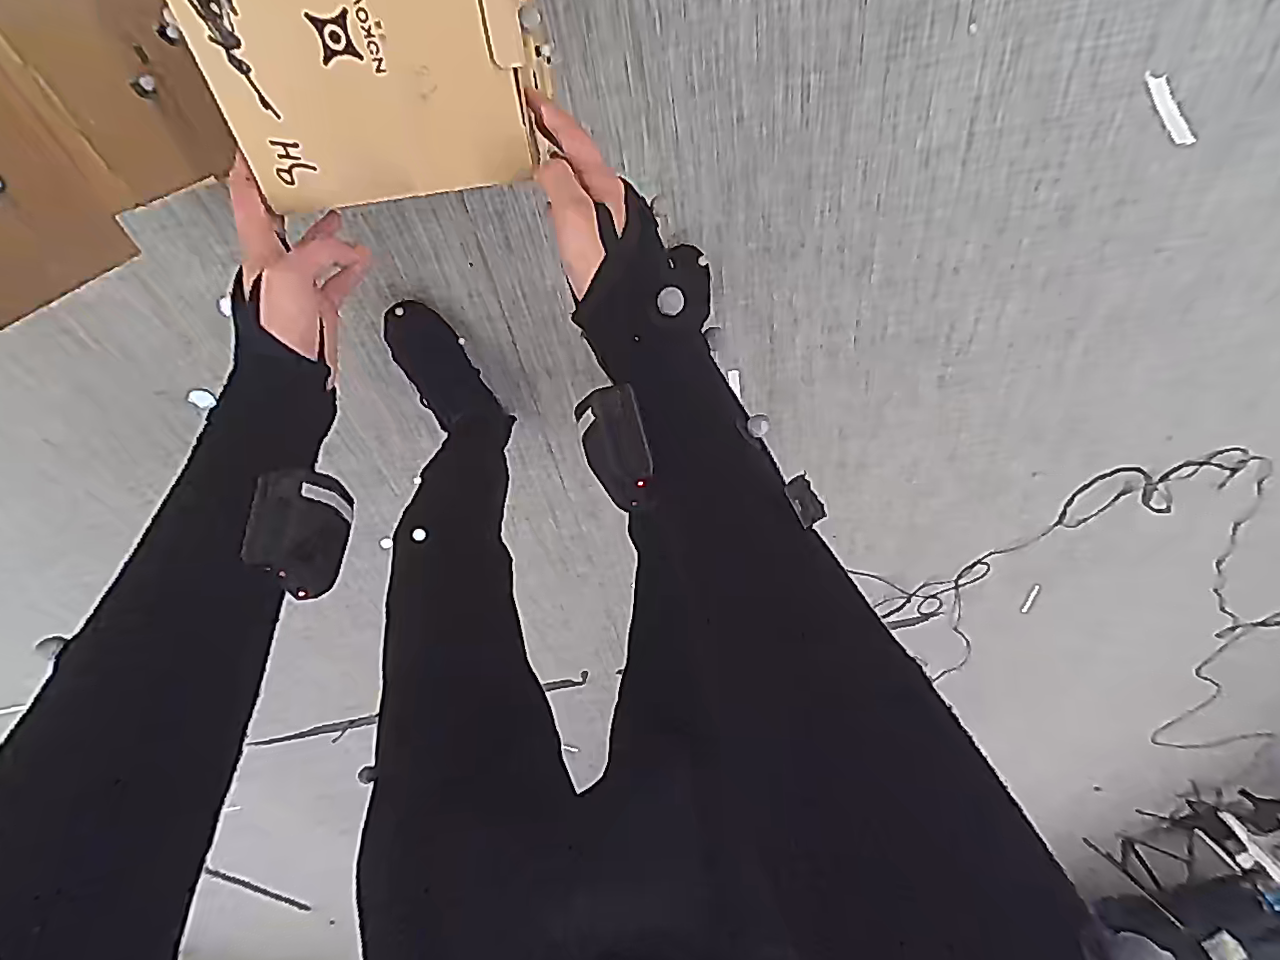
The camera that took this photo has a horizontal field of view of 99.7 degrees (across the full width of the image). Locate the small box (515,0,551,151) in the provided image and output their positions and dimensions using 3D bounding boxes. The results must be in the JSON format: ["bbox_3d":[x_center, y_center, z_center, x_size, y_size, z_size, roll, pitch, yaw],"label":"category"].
[{"bbox_3d":[-0.181,-0.397,0.490,0.179,0.176,0.168,-8,131,-2],"label":"small box"}]

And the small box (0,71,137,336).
[{"bbox_3d":[-0.543,-0.203,0.387,0.168,0.176,0.179,-11,132,3],"label":"small box"}]

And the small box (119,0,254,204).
[{"bbox_3d":[-0.578,-0.431,0.621,0.168,0.176,0.179,-14,131,4],"label":"small box"}]

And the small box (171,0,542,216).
[{"bbox_3d":[-0.168,-0.296,0.361,0.179,0.176,0.168,-9,130,-2],"label":"small box"}]

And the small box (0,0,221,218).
[{"bbox_3d":[-0.549,-0.330,0.494,0.179,0.176,0.168,-14,131,5],"label":"small box"}]
